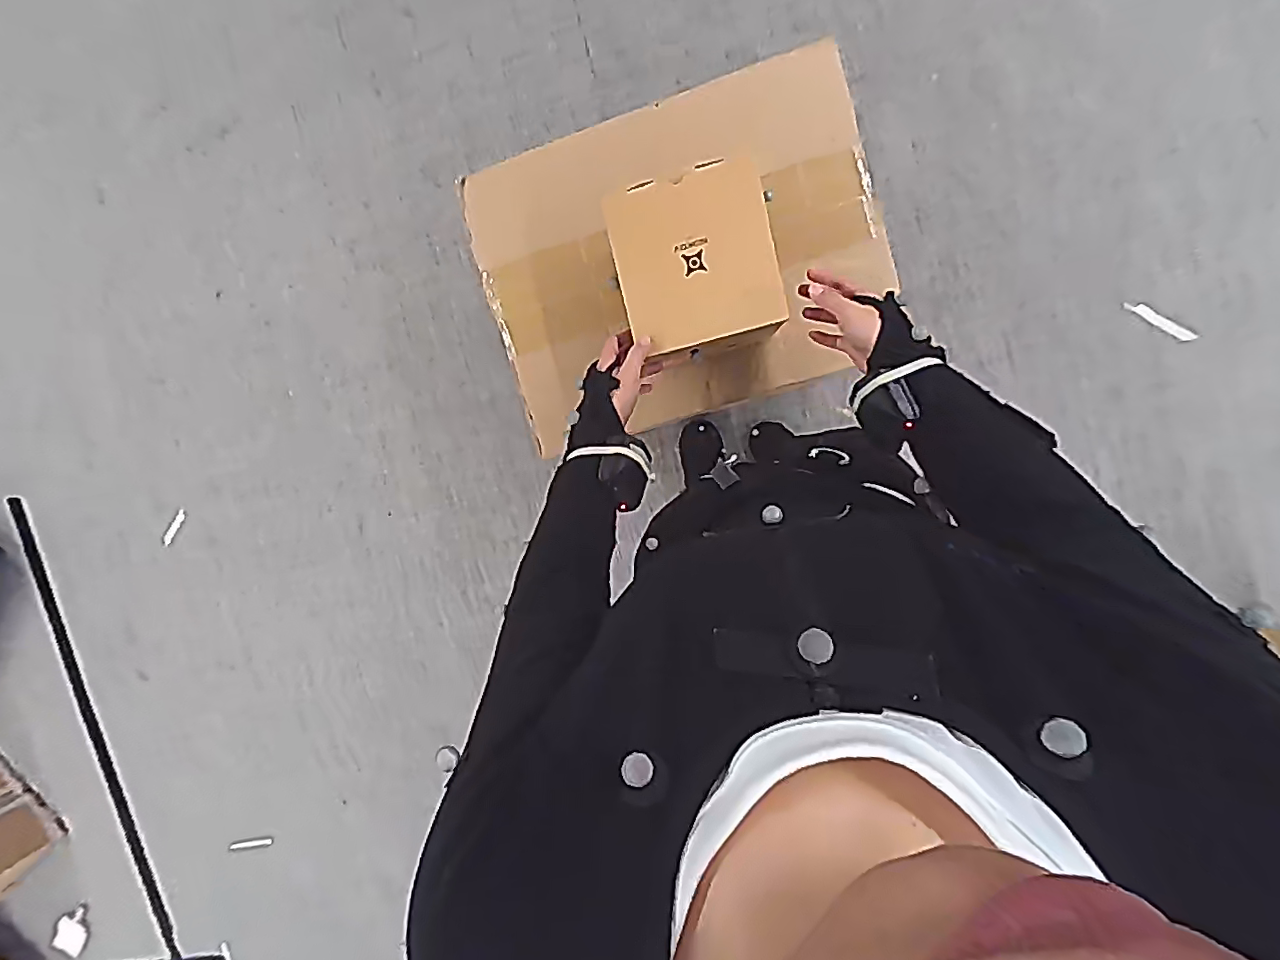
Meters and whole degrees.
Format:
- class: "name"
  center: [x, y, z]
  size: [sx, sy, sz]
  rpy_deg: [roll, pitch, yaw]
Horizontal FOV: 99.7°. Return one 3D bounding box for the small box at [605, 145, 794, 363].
- class: "small box"
  center: [0.072, -0.241, 0.632]
  size: [0.168, 0.176, 0.179]
  rpy_deg: [-13, 94, 9]
